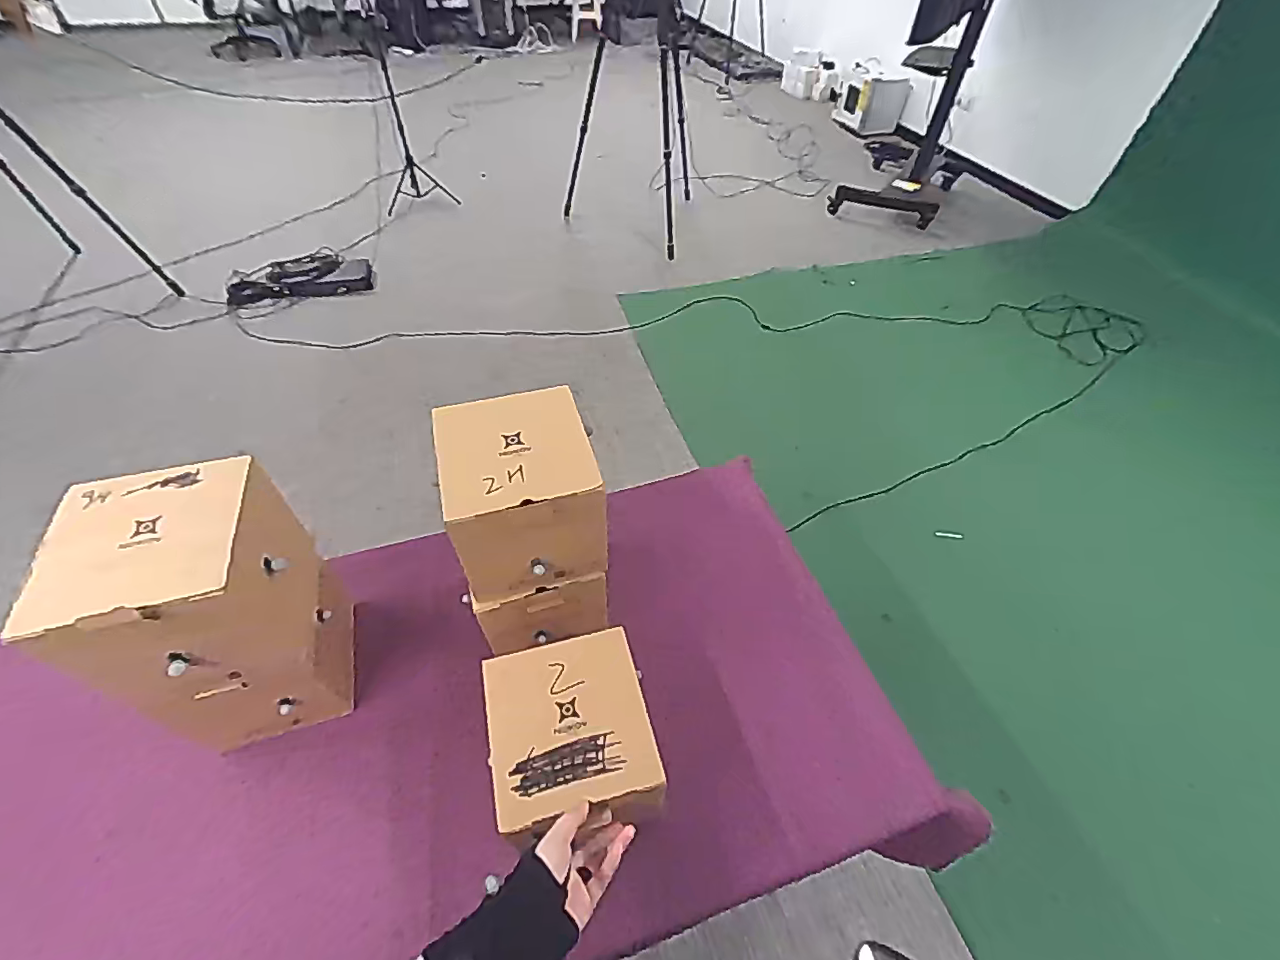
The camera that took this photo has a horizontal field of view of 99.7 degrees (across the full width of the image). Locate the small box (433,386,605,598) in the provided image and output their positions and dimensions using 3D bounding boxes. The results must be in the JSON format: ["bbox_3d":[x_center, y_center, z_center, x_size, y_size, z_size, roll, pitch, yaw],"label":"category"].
[{"bbox_3d":[-0.144,0.014,0.661,0.168,0.176,0.179,-13,52,-12],"label":"small box"}]

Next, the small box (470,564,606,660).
[{"bbox_3d":[-0.152,0.128,0.781,0.168,0.176,0.179,-15,52,-14],"label":"small box"}]

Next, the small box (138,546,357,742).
[{"bbox_3d":[-0.480,0.216,0.697,0.168,0.176,0.179,-13,51,-13],"label":"small box"}]

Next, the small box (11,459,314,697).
[{"bbox_3d":[-0.469,0.109,0.572,0.168,0.176,0.179,-12,51,-14],"label":"small box"}]
